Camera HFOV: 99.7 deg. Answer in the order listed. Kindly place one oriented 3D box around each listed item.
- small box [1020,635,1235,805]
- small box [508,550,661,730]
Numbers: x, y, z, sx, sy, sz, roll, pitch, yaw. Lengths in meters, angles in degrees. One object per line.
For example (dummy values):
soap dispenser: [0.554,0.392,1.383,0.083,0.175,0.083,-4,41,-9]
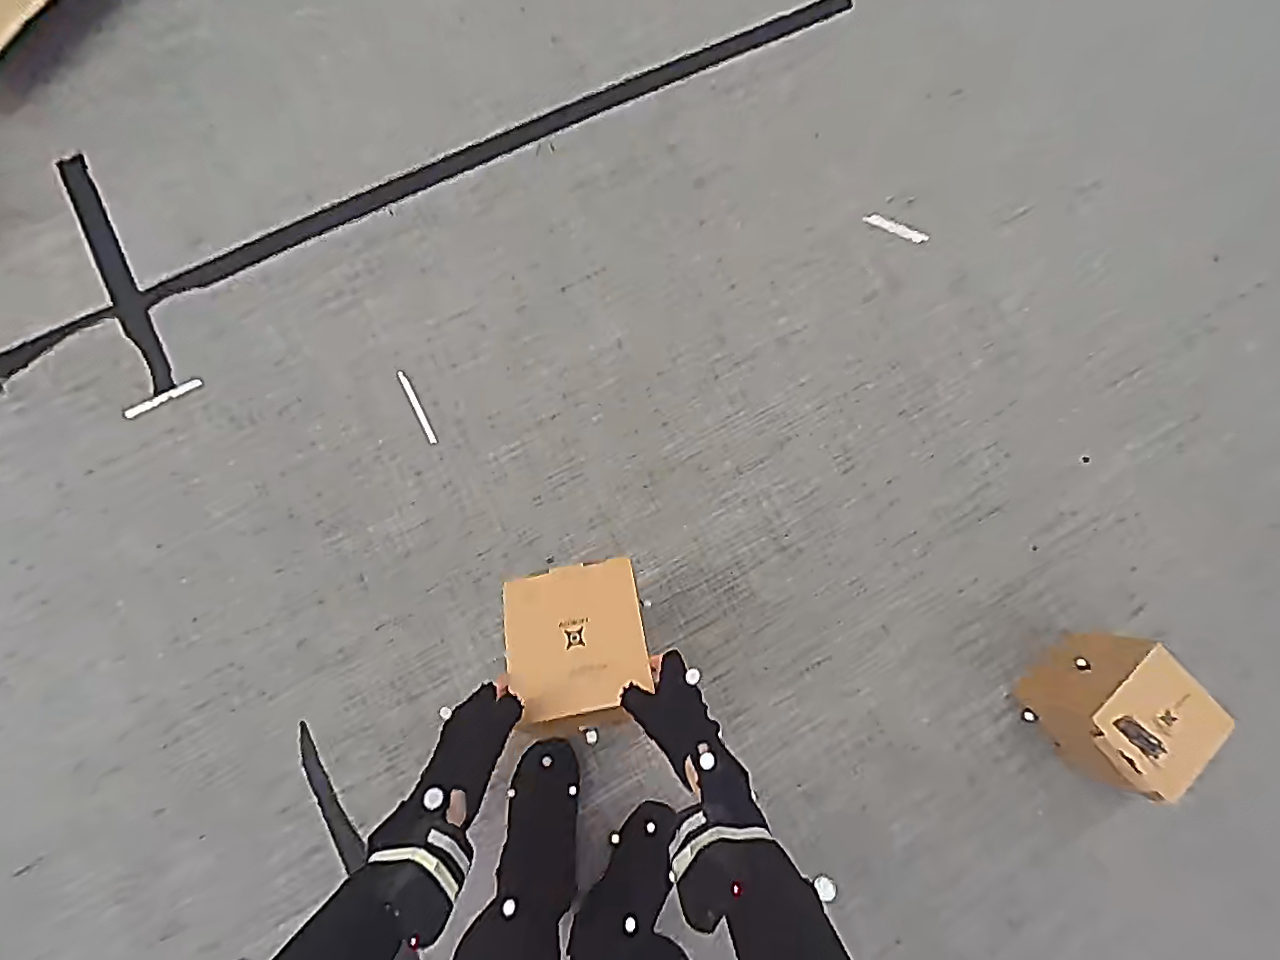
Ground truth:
small box: [0.777,0.378,0.889,0.179,0.176,0.168,-39,84,-9]
small box: [-0.069,0.216,0.715,0.168,0.176,0.179,-11,61,-2]
